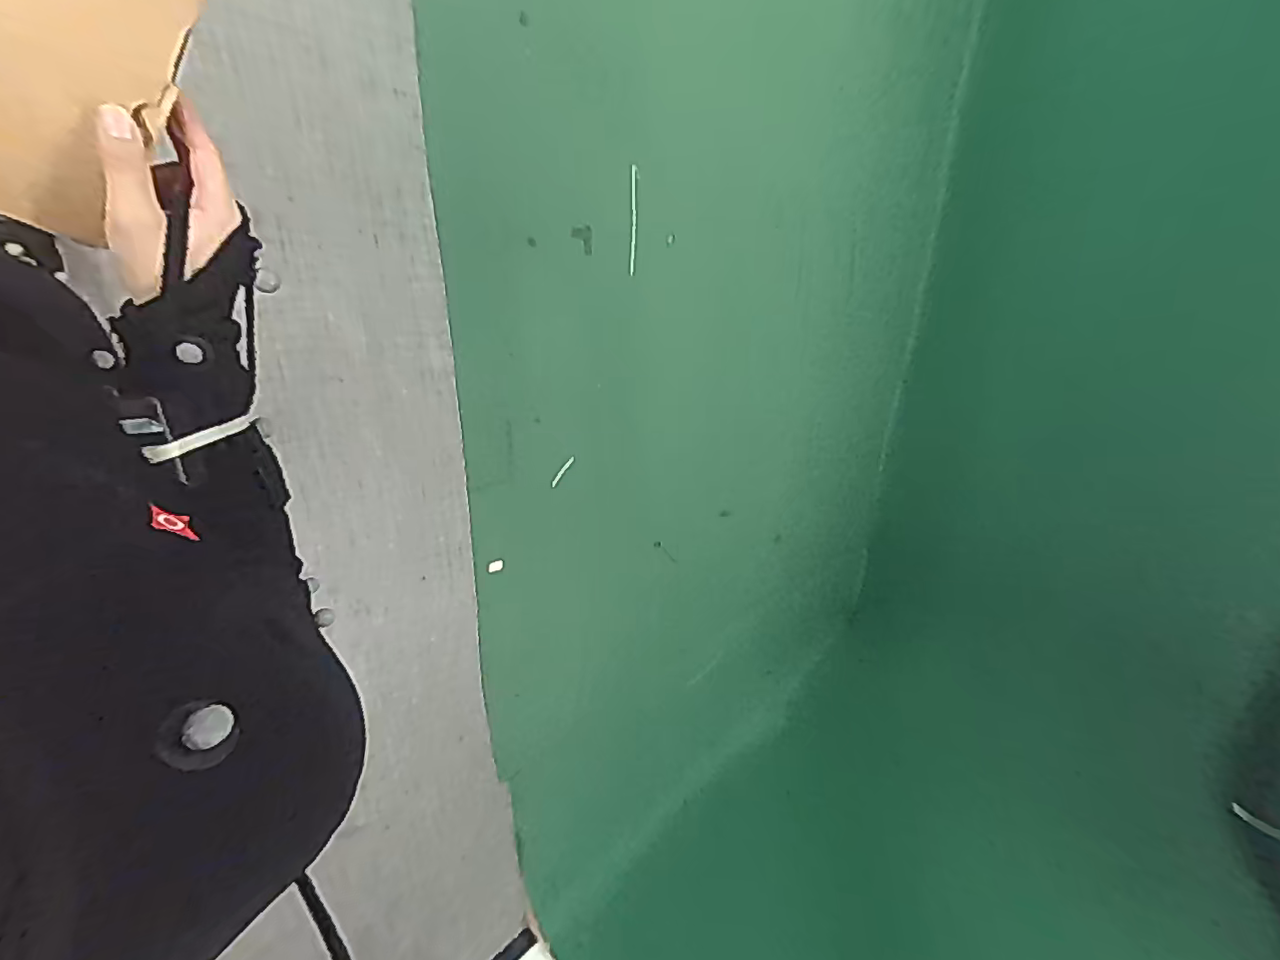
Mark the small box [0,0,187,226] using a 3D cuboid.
[{"bbox_3d":[-0.353,-0.268,0.262,0.168,0.176,0.179,-51,145,16],"label":"small box"}]
